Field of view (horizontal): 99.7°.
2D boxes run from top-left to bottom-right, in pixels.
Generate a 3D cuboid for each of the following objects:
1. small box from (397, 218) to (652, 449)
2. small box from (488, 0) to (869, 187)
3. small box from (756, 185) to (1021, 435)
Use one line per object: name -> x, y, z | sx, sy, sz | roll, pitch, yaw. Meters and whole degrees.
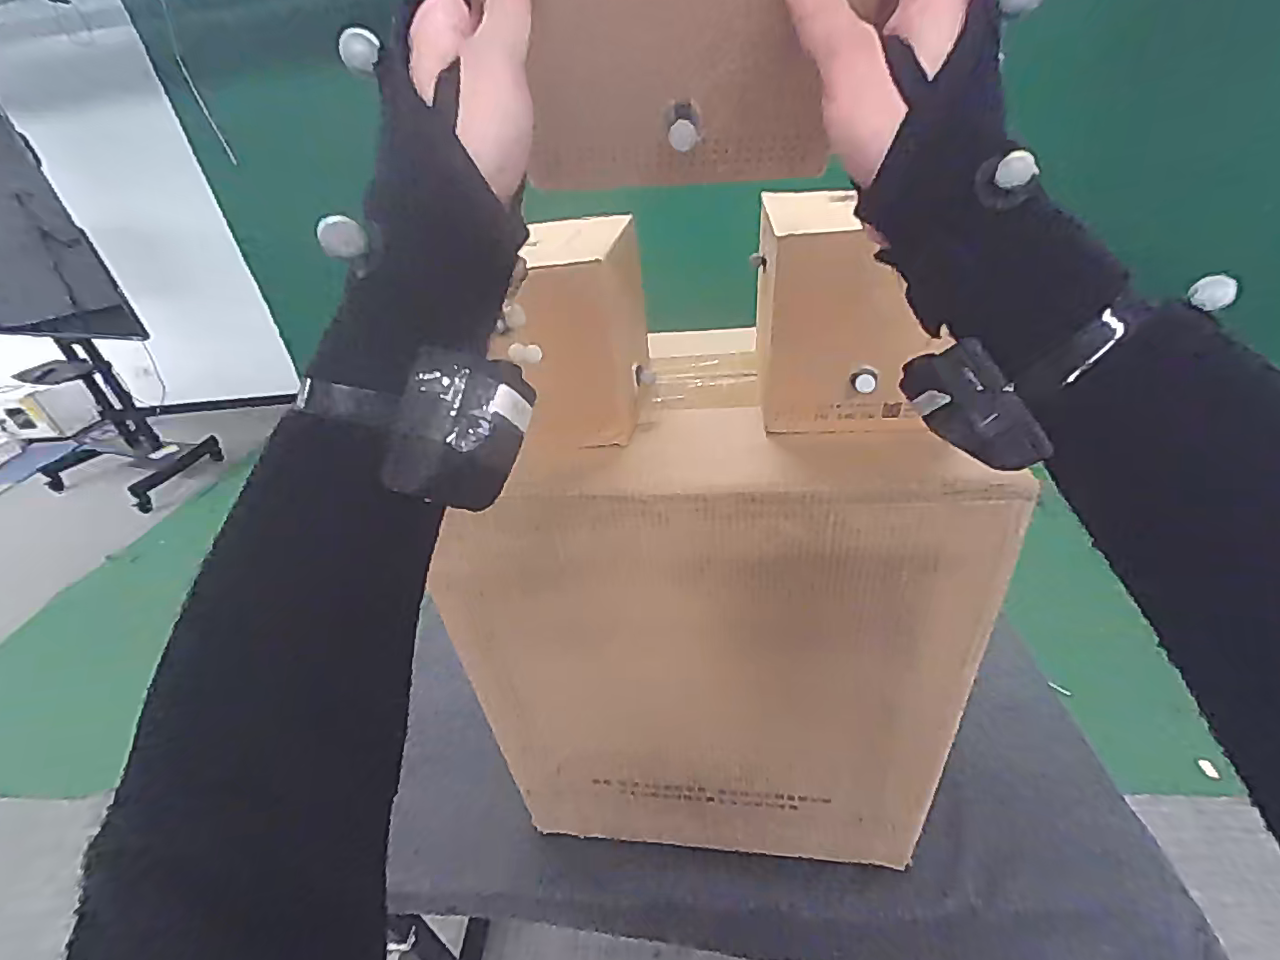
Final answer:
small box -> -0.091, -0.140, 0.524 | 0.179, 0.176, 0.168 | 0, 37, 10
small box -> 0.018, -0.279, 0.277 | 0.179, 0.176, 0.168 | -2, 68, 0
small box -> 0.195, -0.157, 0.491 | 0.168, 0.176, 0.179 | 0, 37, 8
